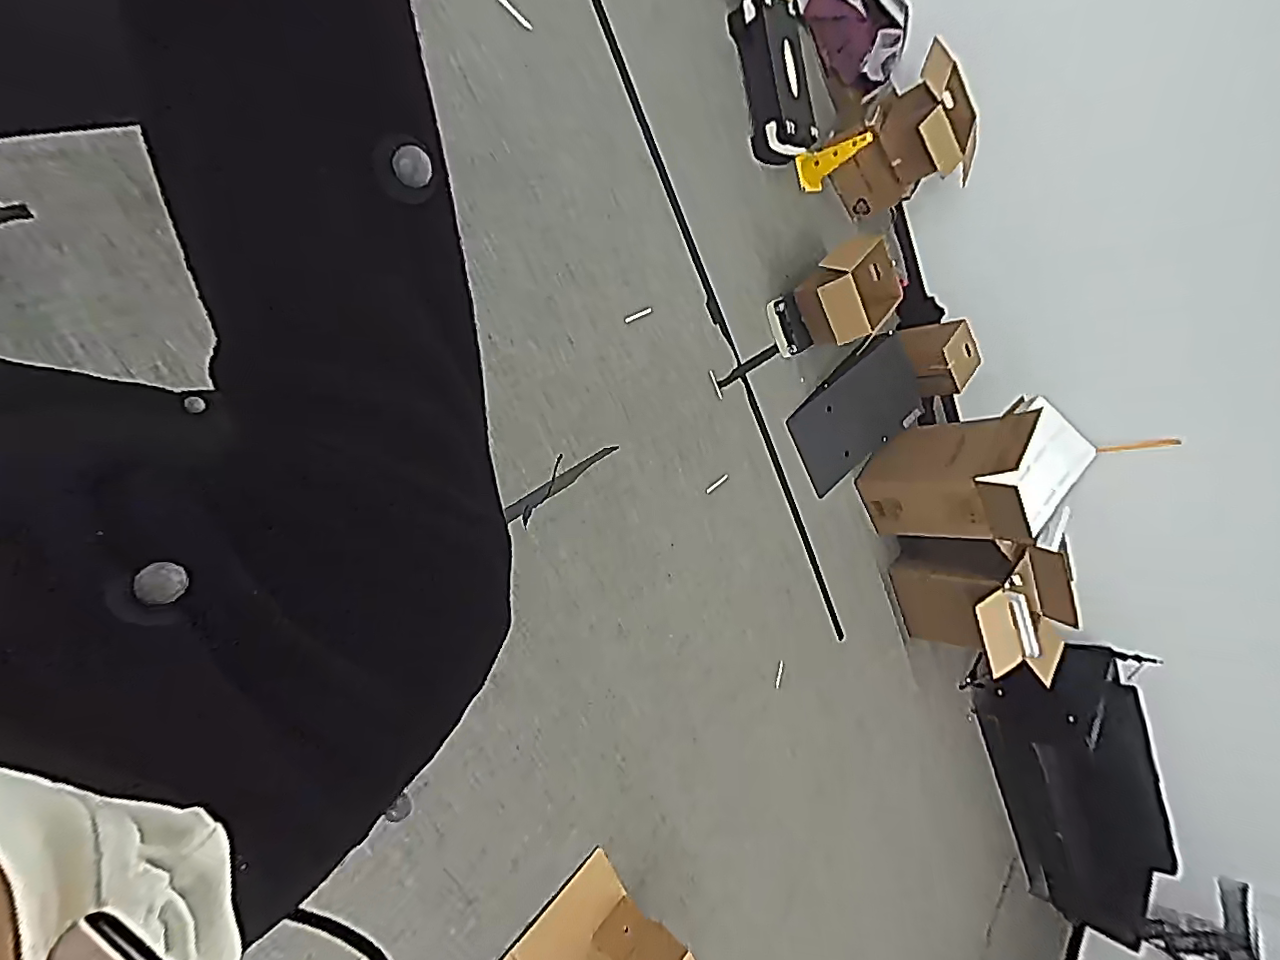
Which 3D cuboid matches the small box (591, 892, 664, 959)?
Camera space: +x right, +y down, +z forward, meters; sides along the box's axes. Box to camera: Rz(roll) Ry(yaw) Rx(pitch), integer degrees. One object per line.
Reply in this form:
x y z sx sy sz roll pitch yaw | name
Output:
-0.051 1.634 1.922 0.179 0.176 0.168 -36 110 -36 | small box
